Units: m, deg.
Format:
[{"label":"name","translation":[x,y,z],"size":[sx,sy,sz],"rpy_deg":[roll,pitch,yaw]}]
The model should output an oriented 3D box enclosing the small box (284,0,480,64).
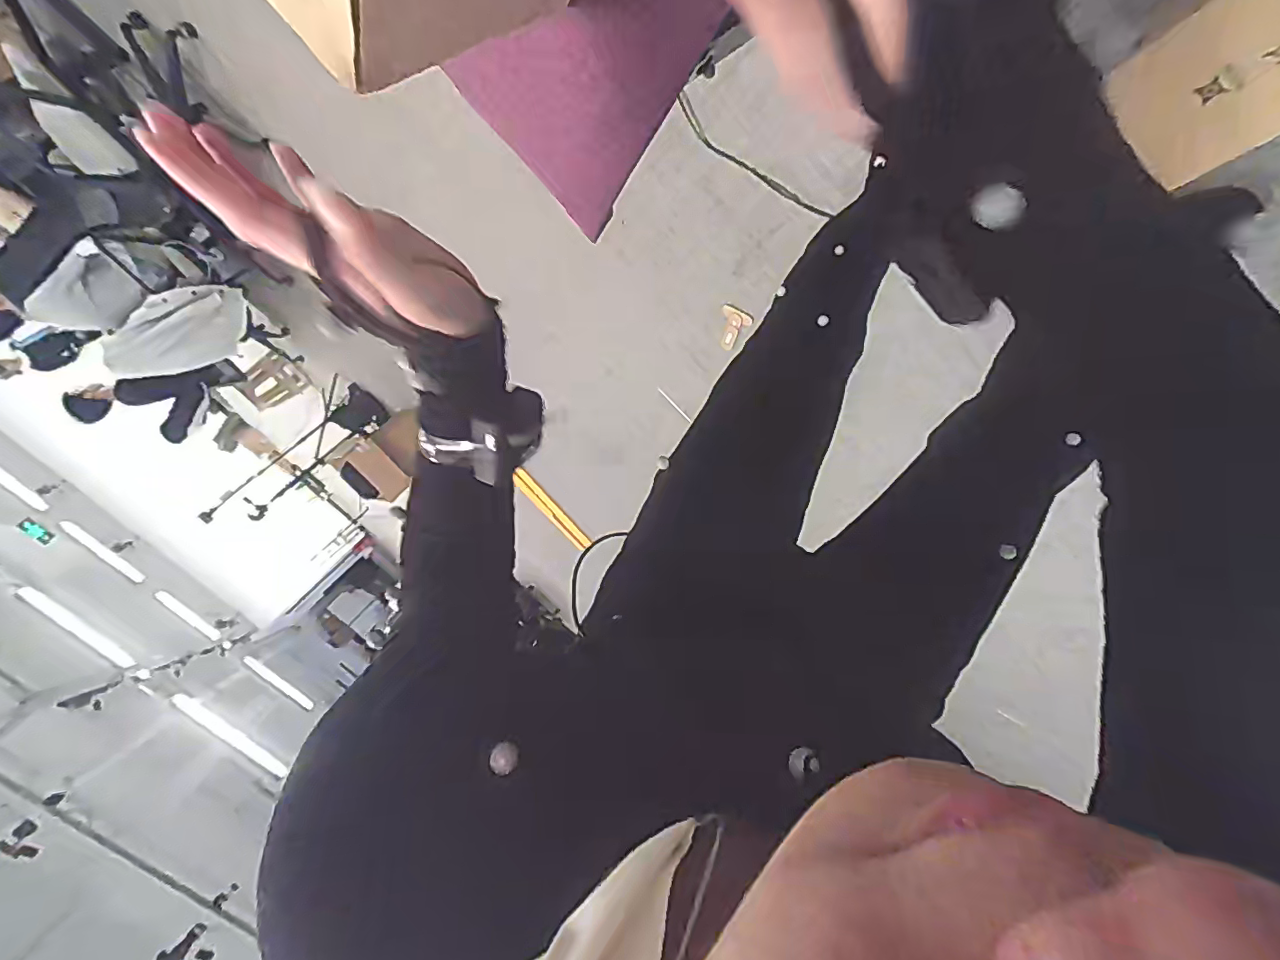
[{"label":"small box","translation":[-0.109,-0.325,0.206],"size":[0.168,0.176,0.179],"rpy_deg":[46,153,-10]}]
